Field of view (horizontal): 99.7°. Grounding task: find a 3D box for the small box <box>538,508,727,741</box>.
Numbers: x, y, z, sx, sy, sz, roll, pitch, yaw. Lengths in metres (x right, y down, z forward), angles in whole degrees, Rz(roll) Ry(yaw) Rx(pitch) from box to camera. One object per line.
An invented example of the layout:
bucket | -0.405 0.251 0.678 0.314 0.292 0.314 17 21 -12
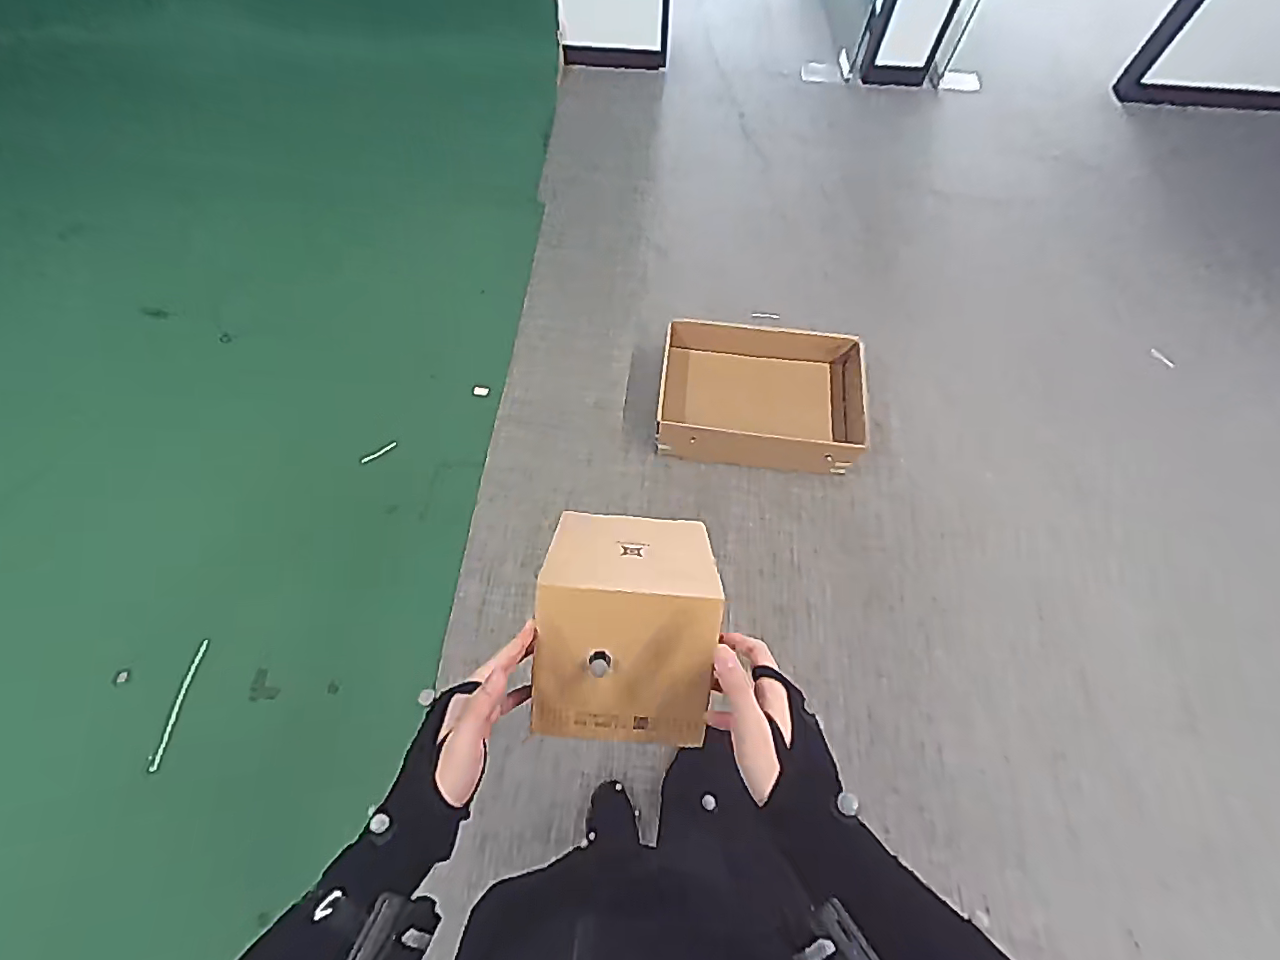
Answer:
small box | -0.012 0.143 0.565 0.168 0.179 0.176 6 108 -2
